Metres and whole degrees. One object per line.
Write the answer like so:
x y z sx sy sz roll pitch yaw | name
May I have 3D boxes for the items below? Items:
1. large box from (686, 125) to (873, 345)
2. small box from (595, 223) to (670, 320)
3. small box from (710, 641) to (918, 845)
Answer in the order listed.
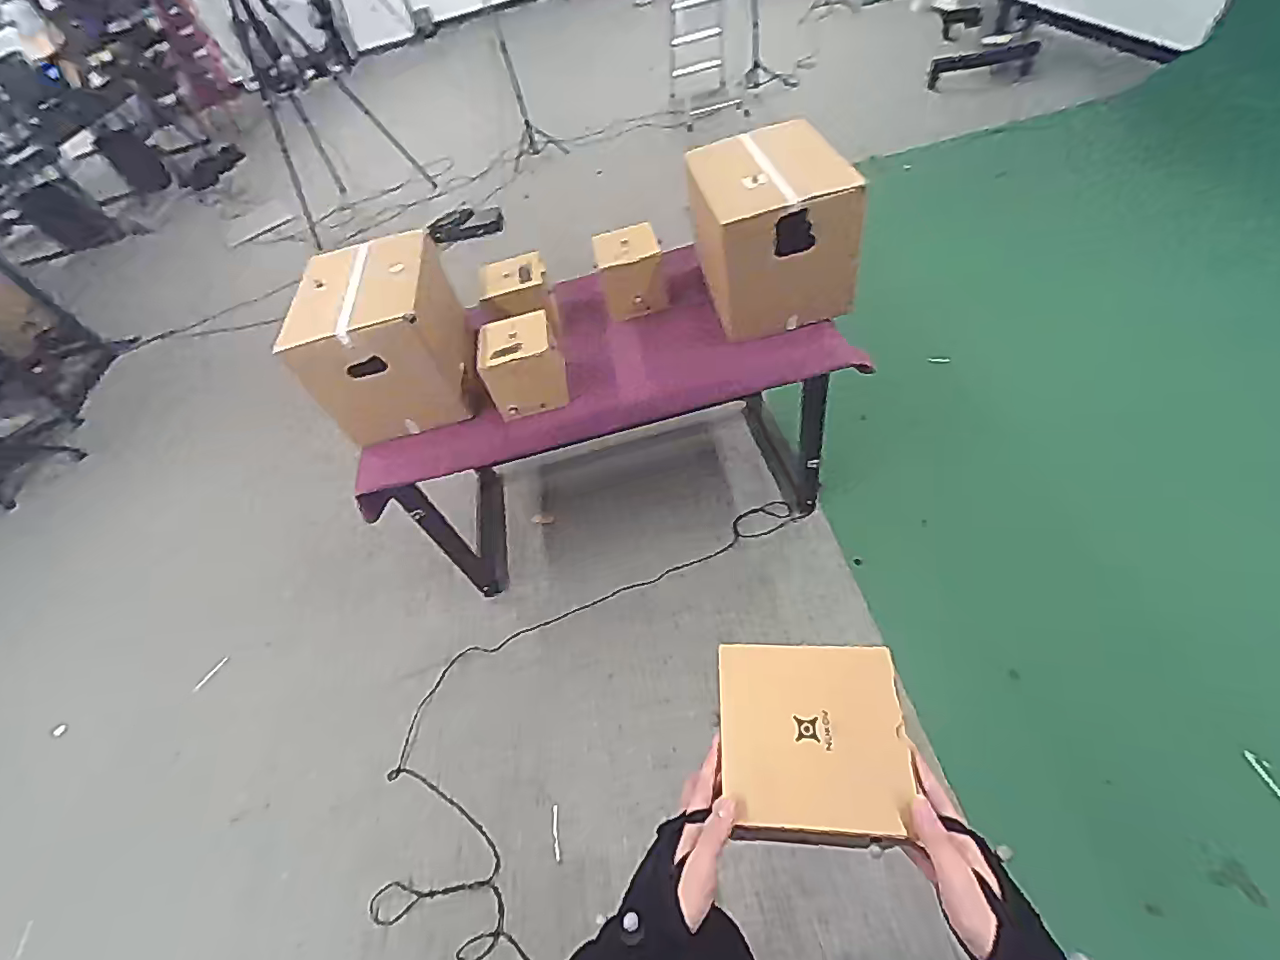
0.322 -0.605 1.340 0.320 0.320 0.408 -14 51 4 | large box
-0.020 -0.567 1.478 0.168 0.176 0.179 -14 51 2 | small box
0.165 0.284 0.579 0.179 0.176 0.168 -1 52 7 | small box
